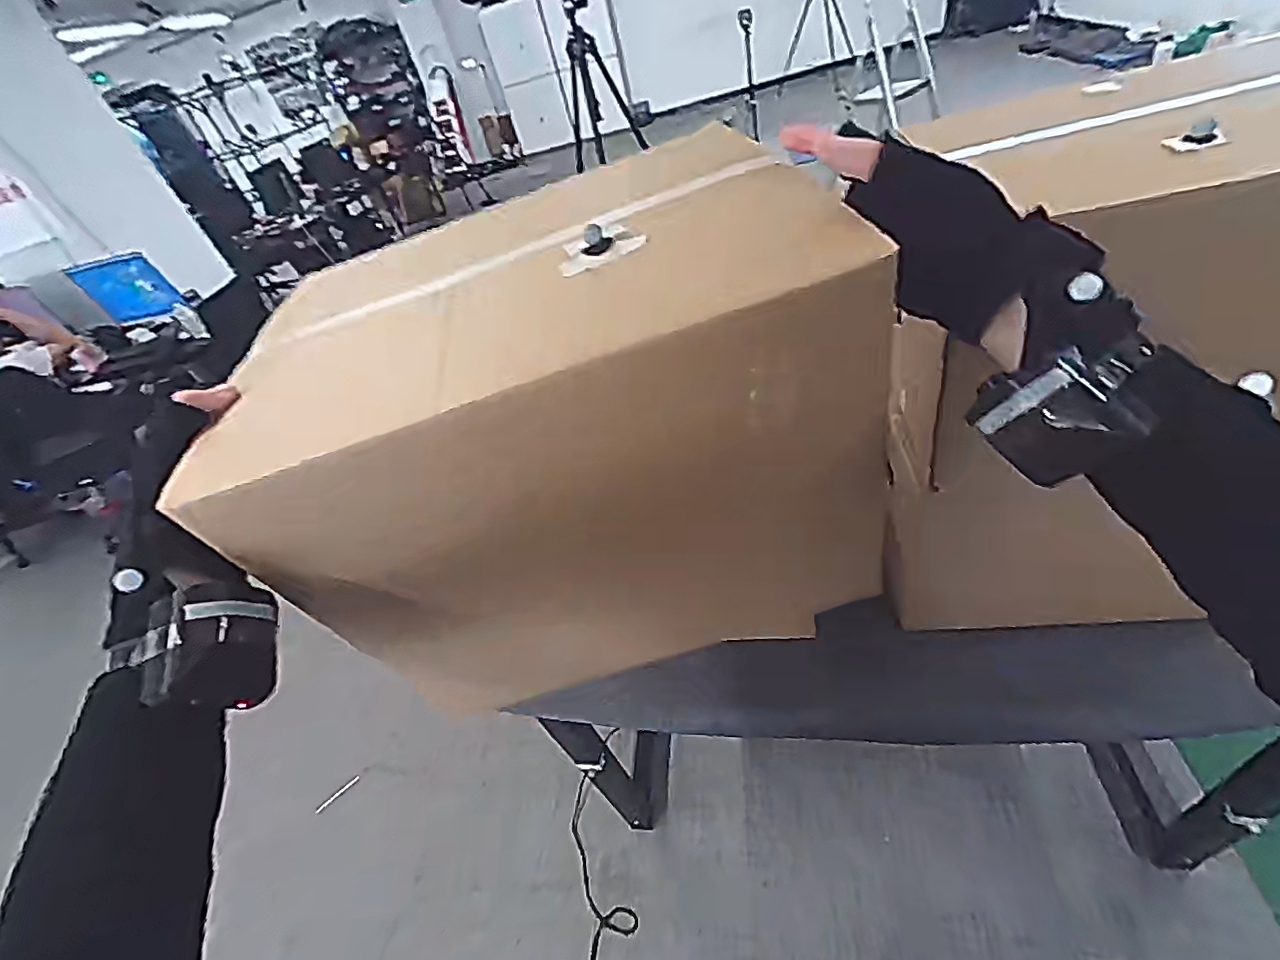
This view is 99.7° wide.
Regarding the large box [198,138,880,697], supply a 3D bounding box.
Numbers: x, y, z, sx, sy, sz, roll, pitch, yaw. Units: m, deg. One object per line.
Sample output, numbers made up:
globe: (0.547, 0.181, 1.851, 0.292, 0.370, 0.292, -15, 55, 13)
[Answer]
large box: (-0.051, -0.051, 0.502, 0.408, 0.320, 0.320, -17, 46, 3)
